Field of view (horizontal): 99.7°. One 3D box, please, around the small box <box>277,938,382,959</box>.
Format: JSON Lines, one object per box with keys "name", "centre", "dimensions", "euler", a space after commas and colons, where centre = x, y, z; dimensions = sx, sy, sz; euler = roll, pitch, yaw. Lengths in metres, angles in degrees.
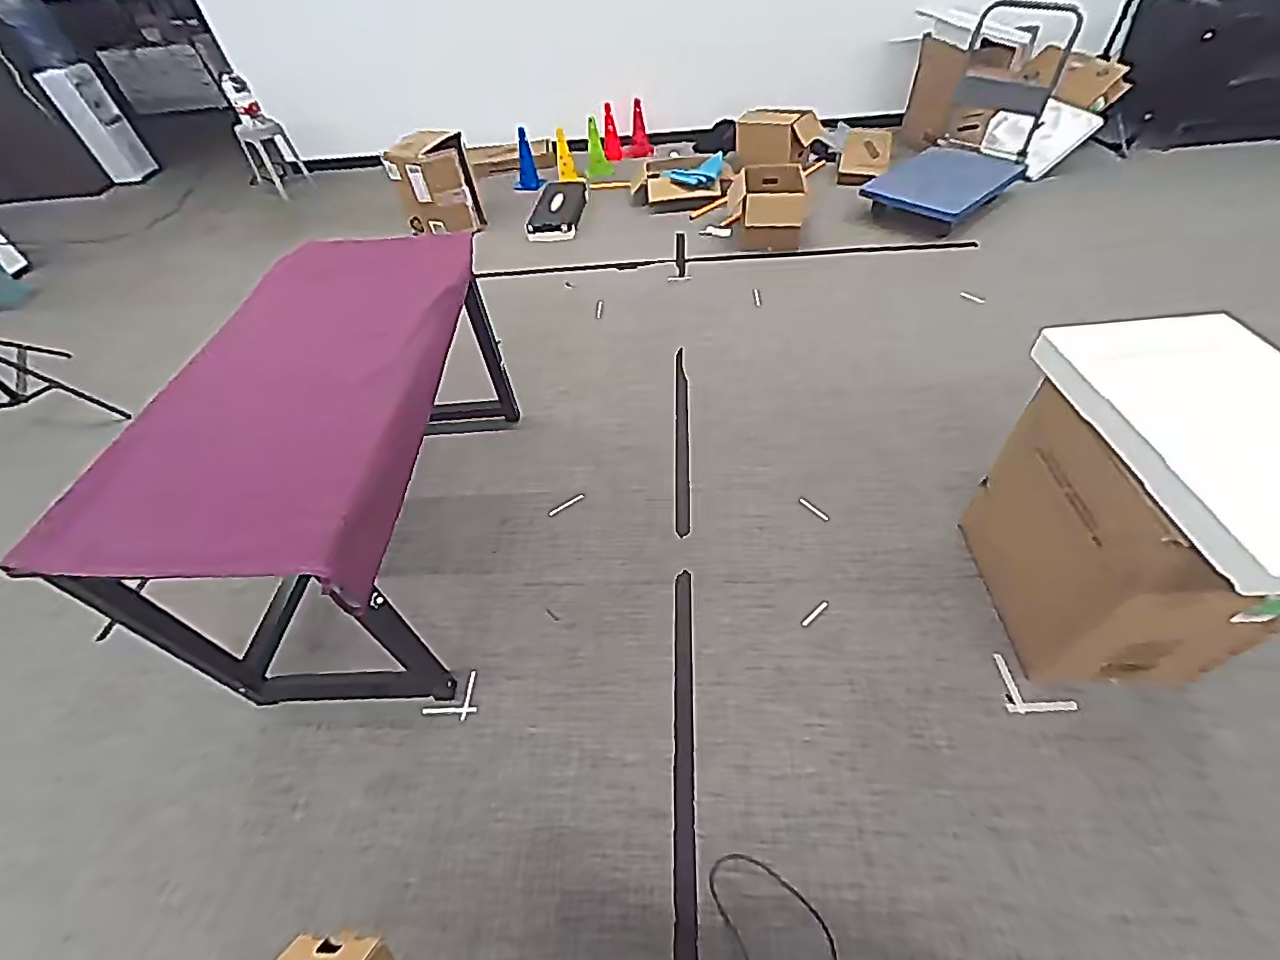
{"name": "small box", "centre": [-0.374, 0.670, 0.606], "dimensions": [0.168, 0.176, 0.179], "euler": [-19, 8, 22]}
